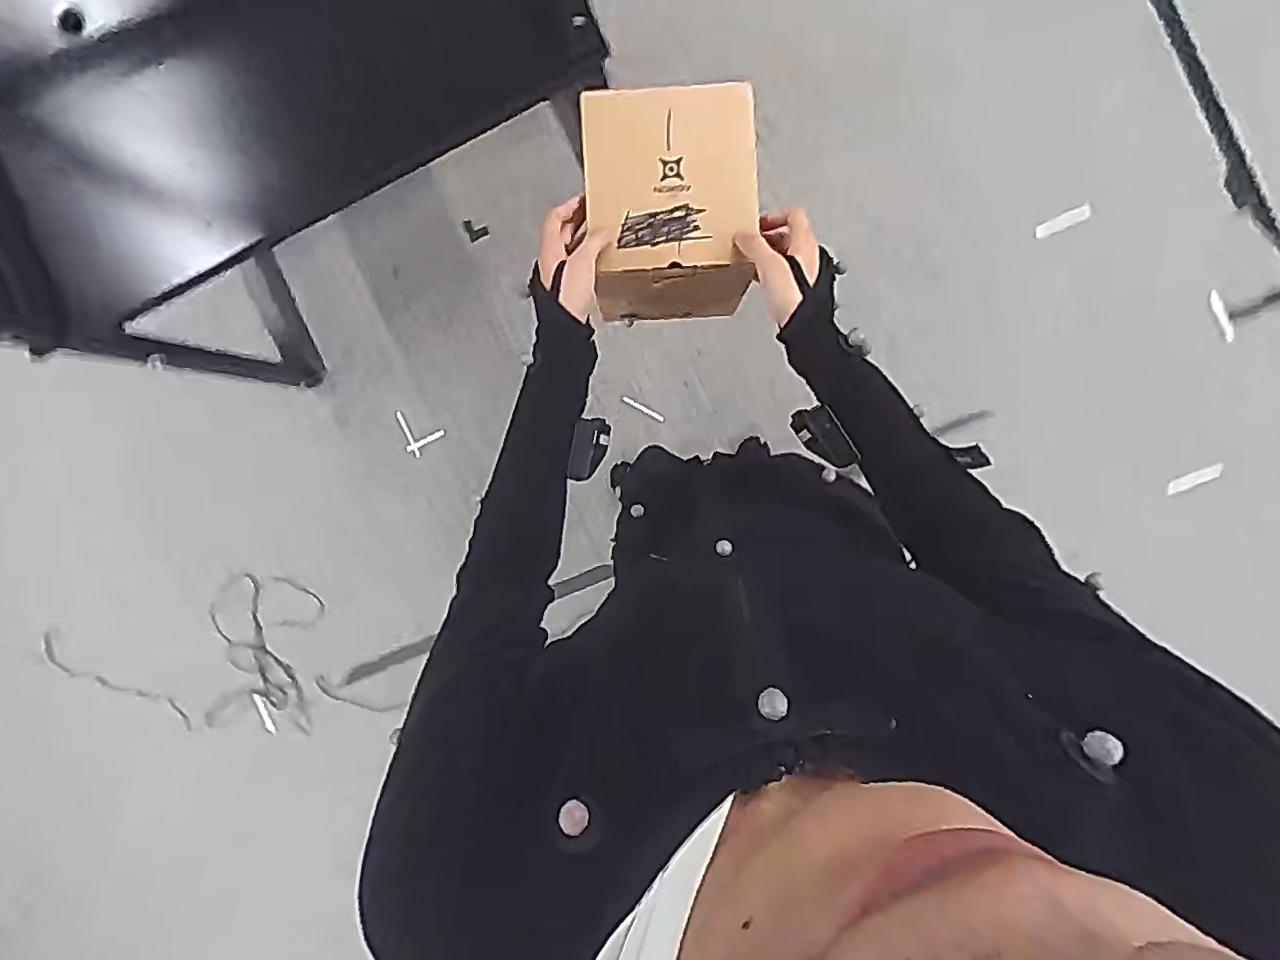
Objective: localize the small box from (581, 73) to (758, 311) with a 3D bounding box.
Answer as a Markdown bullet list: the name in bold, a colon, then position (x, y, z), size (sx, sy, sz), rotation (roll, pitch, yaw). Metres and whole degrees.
- **small box**: position (0.030, -0.291, 0.587), size (0.168, 0.176, 0.179), rotation (-2, 89, 1)
